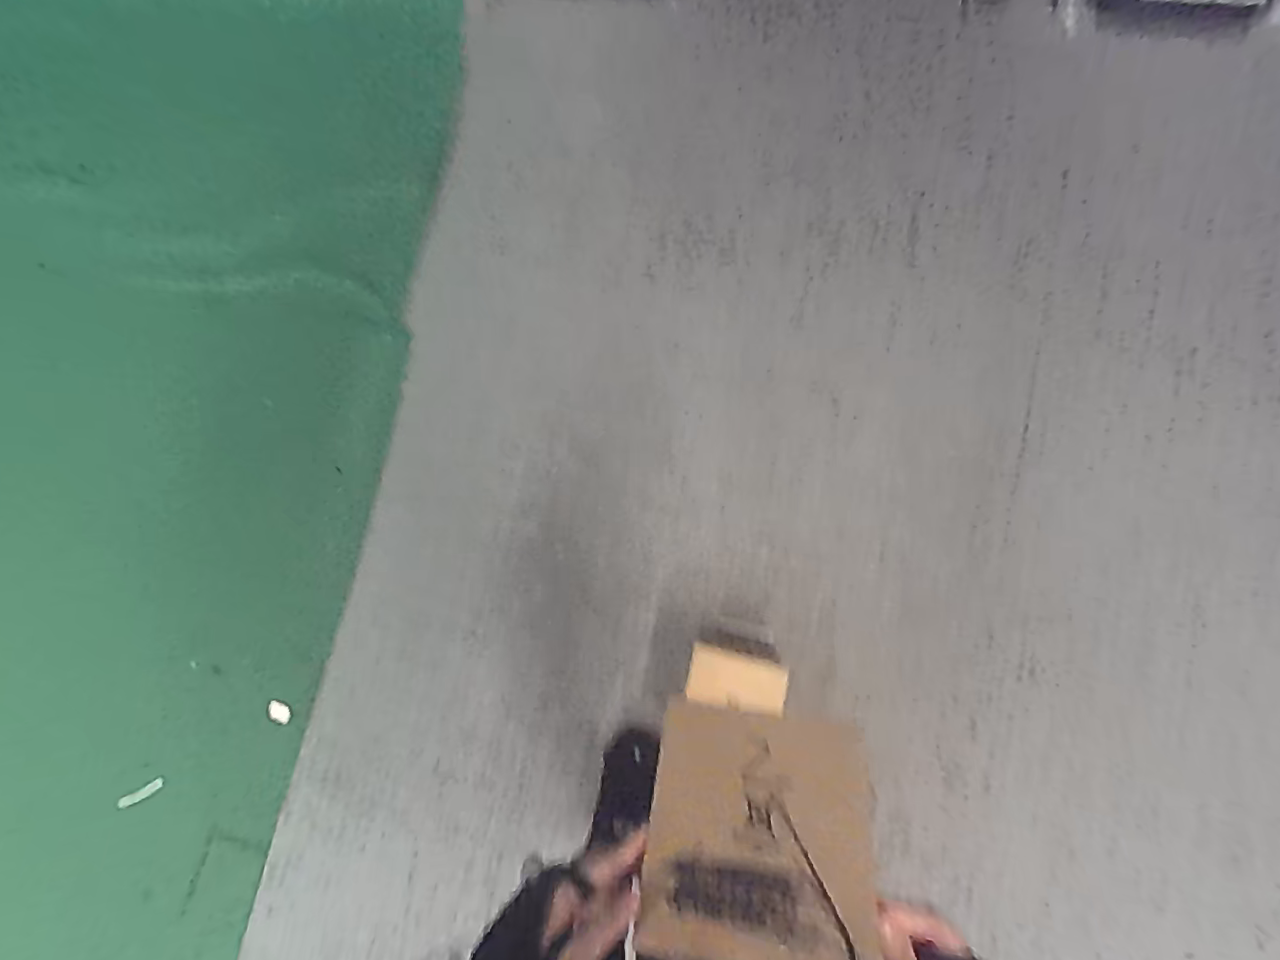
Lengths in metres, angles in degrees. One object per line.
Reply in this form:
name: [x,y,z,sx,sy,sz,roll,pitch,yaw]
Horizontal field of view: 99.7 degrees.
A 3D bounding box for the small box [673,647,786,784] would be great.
small box: [0.163,0.427,1.015,0.168,0.176,0.179,13,84,9]
